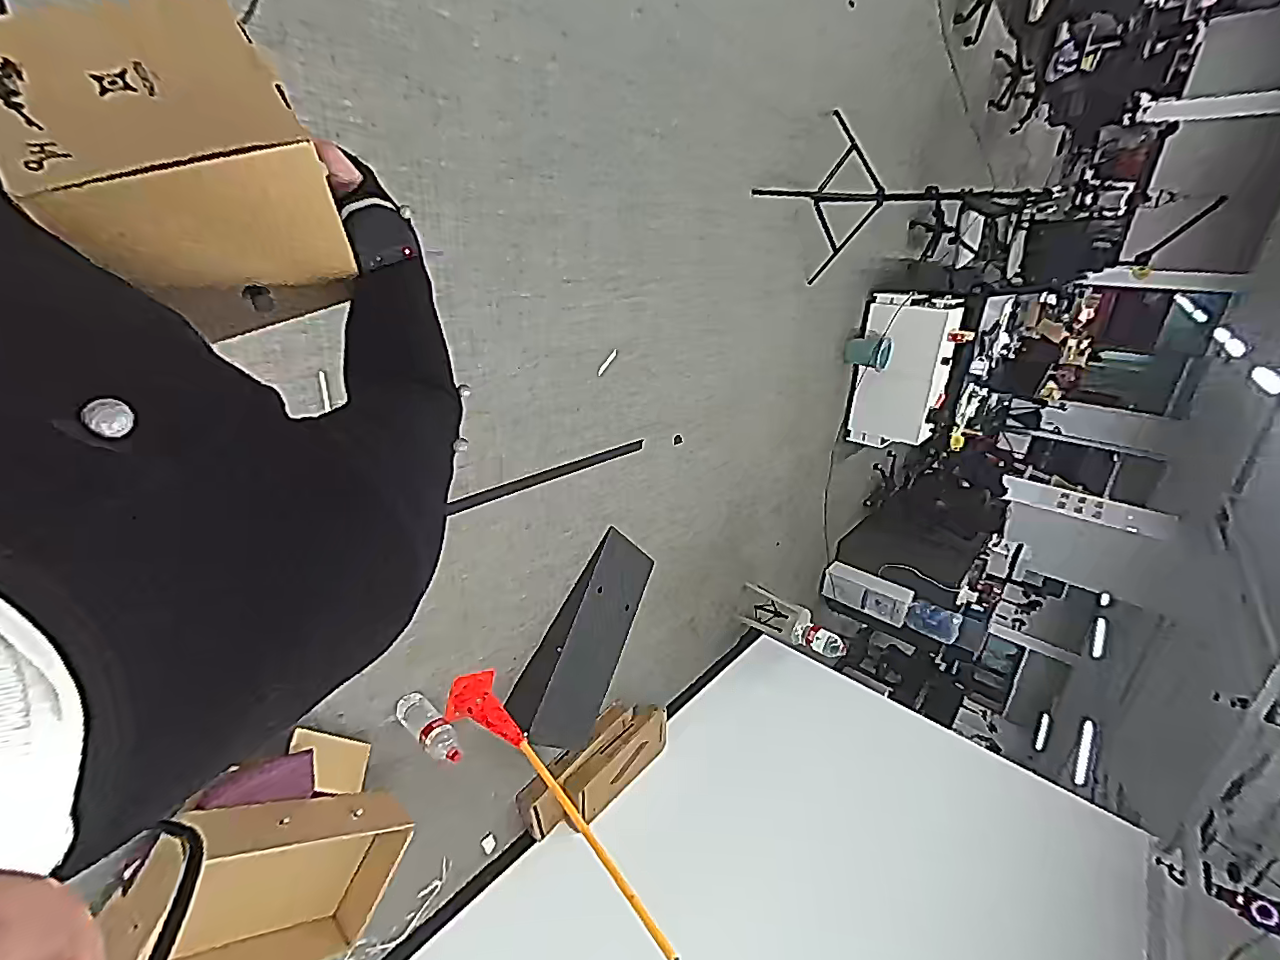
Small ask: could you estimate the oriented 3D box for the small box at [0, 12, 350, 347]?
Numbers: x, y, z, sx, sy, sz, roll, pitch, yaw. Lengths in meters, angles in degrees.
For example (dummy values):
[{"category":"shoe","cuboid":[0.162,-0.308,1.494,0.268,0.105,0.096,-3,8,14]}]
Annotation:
[{"category":"small box","cuboid":[-0.376,-0.247,0.464,0.179,0.168,0.176,-29,166,-22]}]
